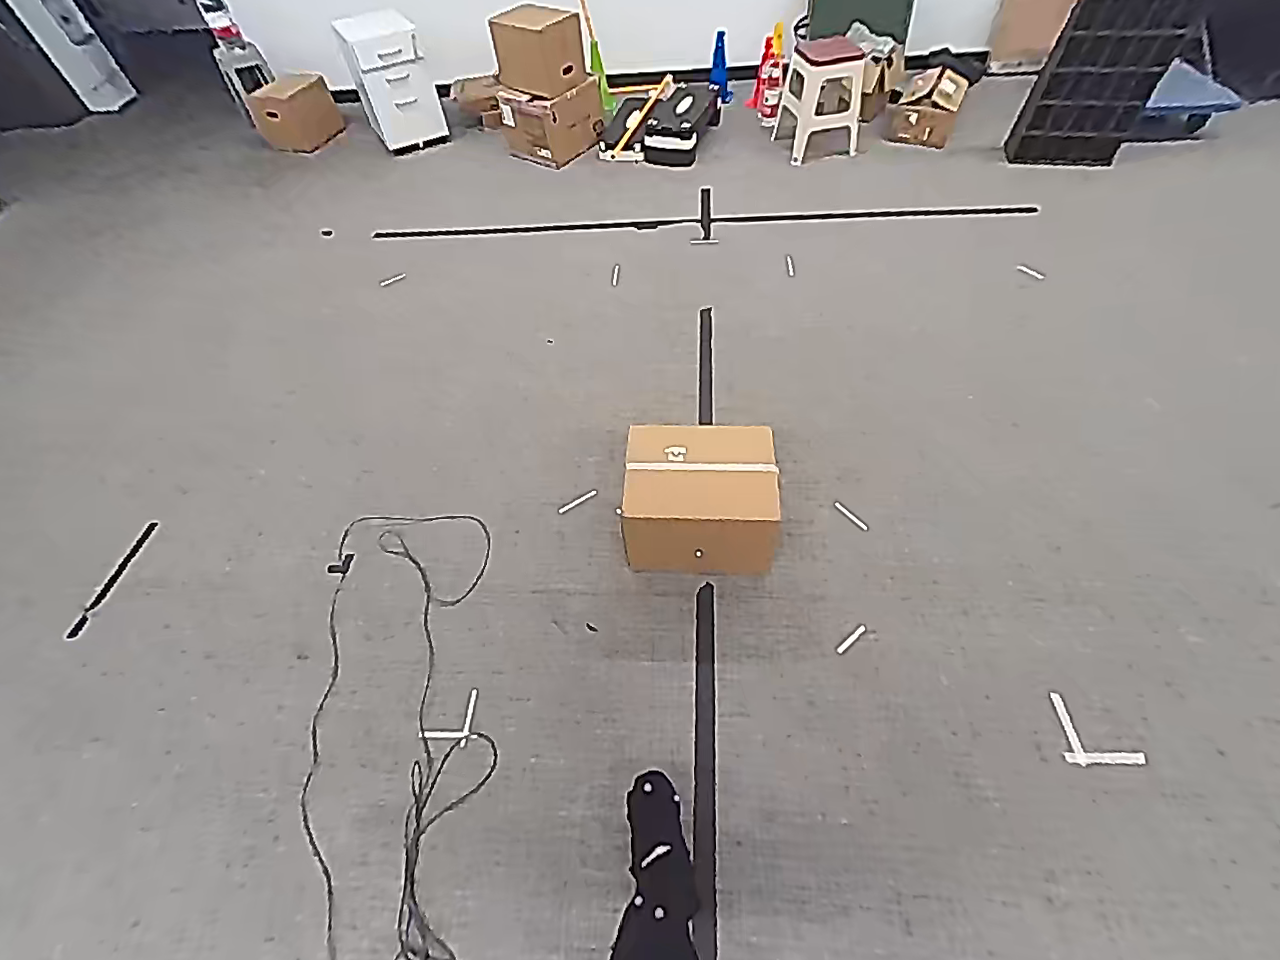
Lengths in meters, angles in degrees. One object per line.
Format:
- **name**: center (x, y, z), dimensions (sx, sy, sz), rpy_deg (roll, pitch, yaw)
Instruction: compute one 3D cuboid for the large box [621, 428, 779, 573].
- **large box**: center (0.170, 0.067, 1.567), dimensions (0.408, 0.320, 0.320), rpy_deg (0, 53, 6)
